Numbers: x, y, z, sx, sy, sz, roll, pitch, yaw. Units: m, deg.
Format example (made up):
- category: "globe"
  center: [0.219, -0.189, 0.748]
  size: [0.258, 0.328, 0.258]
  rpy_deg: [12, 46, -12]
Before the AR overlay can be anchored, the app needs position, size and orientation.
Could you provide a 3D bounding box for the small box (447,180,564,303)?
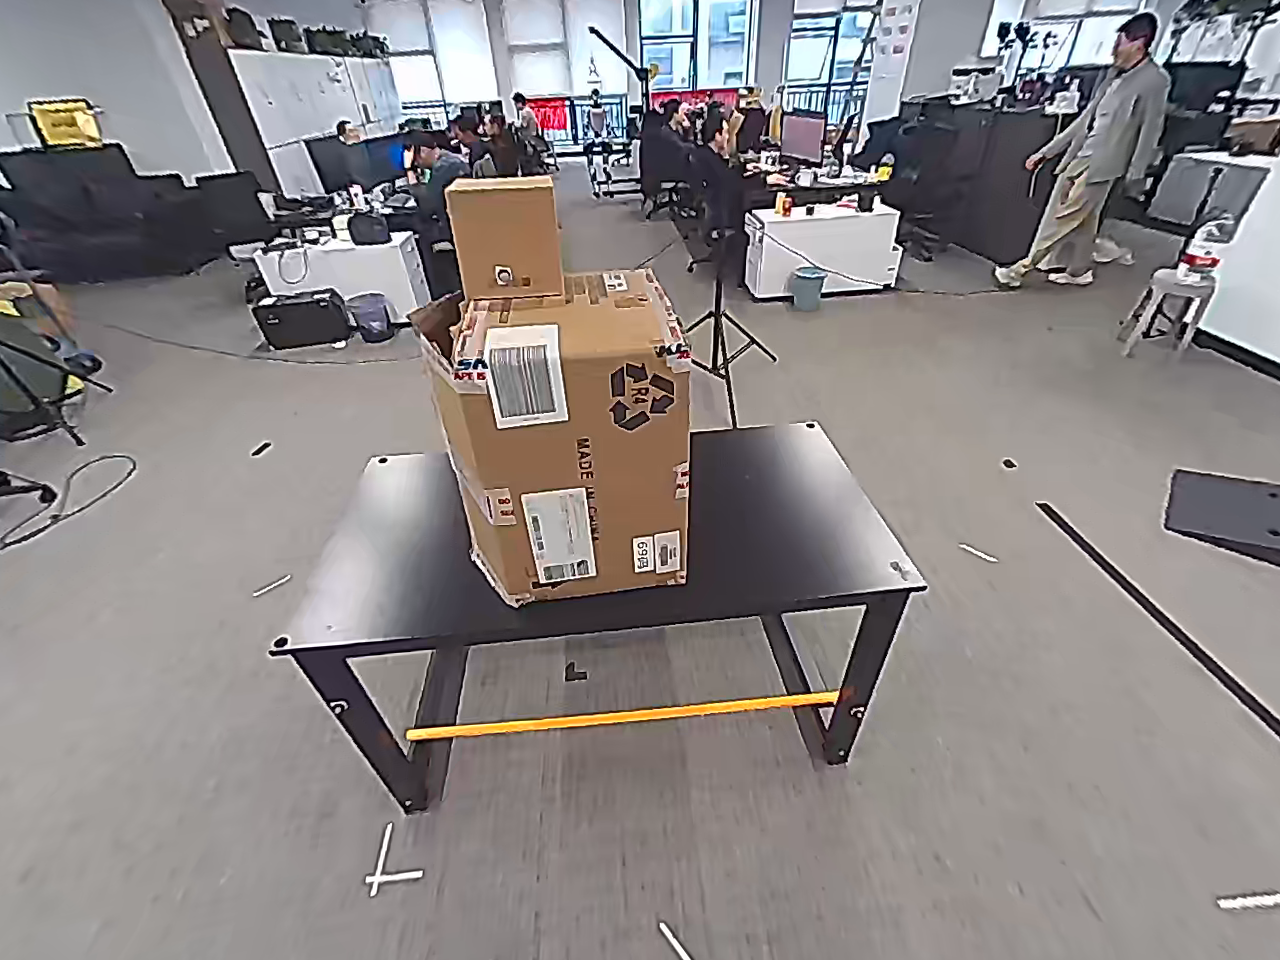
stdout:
- category: "small box"
  center: [-0.225, -0.416, 0.939]
  size: [0.168, 0.176, 0.179]
  rpy_deg: [-7, 35, -7]
